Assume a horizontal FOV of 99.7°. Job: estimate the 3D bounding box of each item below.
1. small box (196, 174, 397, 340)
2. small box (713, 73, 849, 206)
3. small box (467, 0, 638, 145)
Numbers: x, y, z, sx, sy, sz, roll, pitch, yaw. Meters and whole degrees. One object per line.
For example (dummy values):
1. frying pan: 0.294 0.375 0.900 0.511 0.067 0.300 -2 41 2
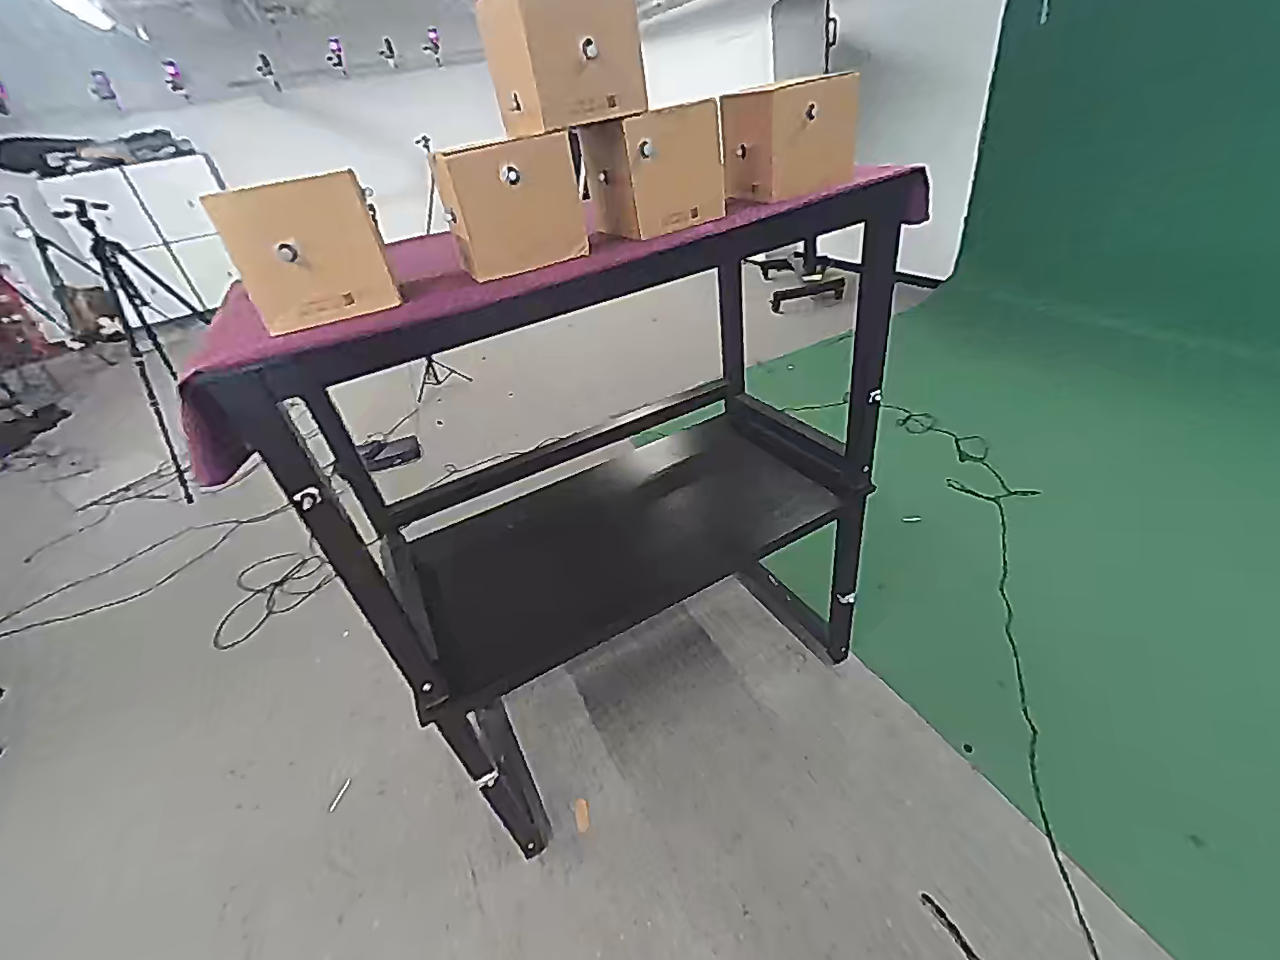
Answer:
1. small box: -0.447 -0.303 0.736 0.168 0.176 0.179 -21 34 -15
2. small box: 0.253 -0.609 0.977 0.179 0.176 0.168 -22 37 -14
3. small box: -0.119 -0.589 0.766 0.168 0.176 0.179 -25 37 -20
